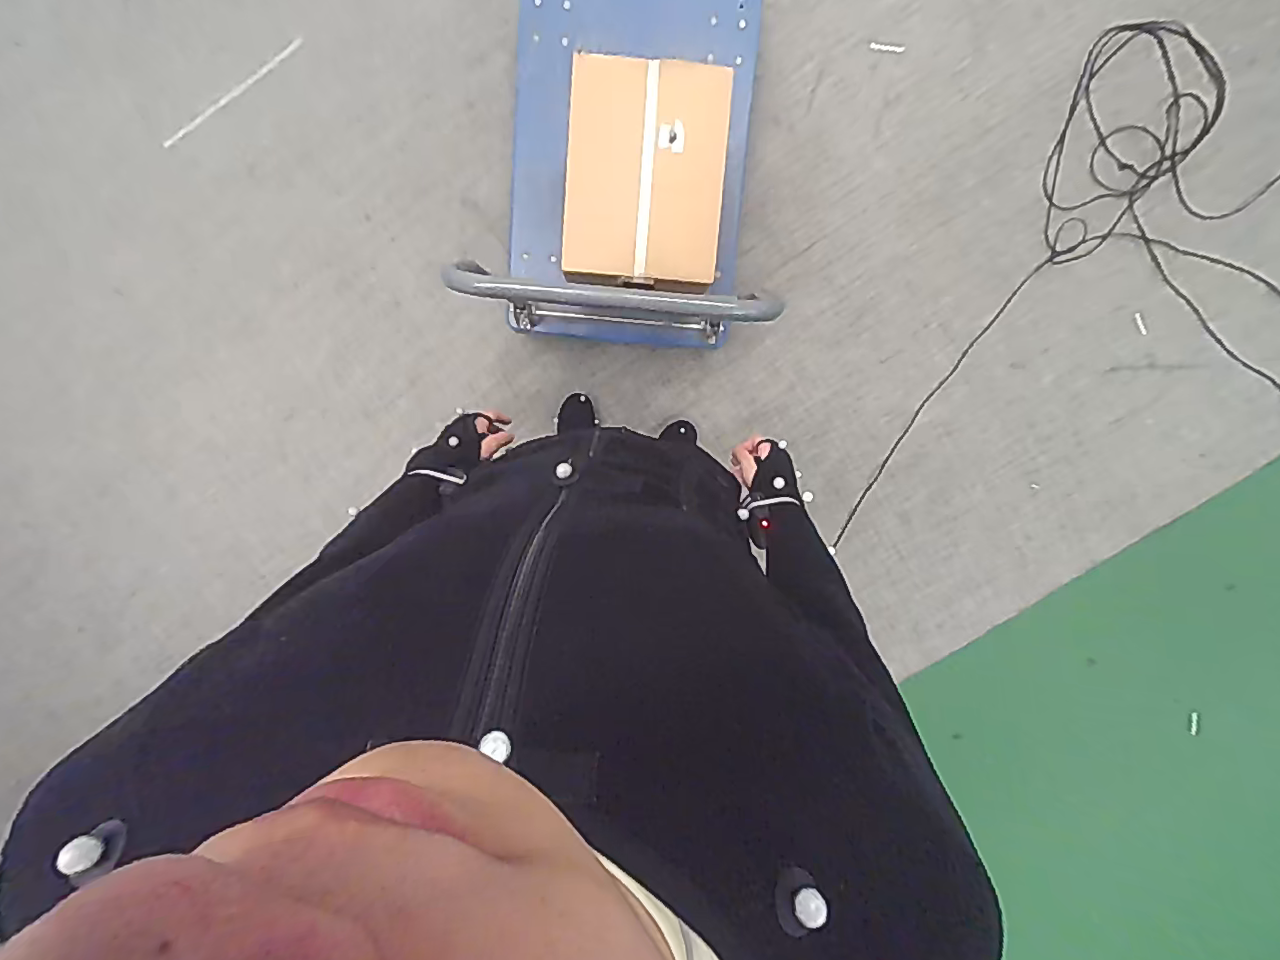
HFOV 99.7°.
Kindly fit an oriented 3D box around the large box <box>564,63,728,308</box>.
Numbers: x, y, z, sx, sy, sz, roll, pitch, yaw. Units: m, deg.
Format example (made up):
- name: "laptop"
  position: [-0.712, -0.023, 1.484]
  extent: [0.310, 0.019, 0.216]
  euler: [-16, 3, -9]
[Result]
- name: "large box"
  position: [0.007, -0.631, 1.237]
  extent: [0.320, 0.320, 0.408]
  euler: [4, 98, -3]
